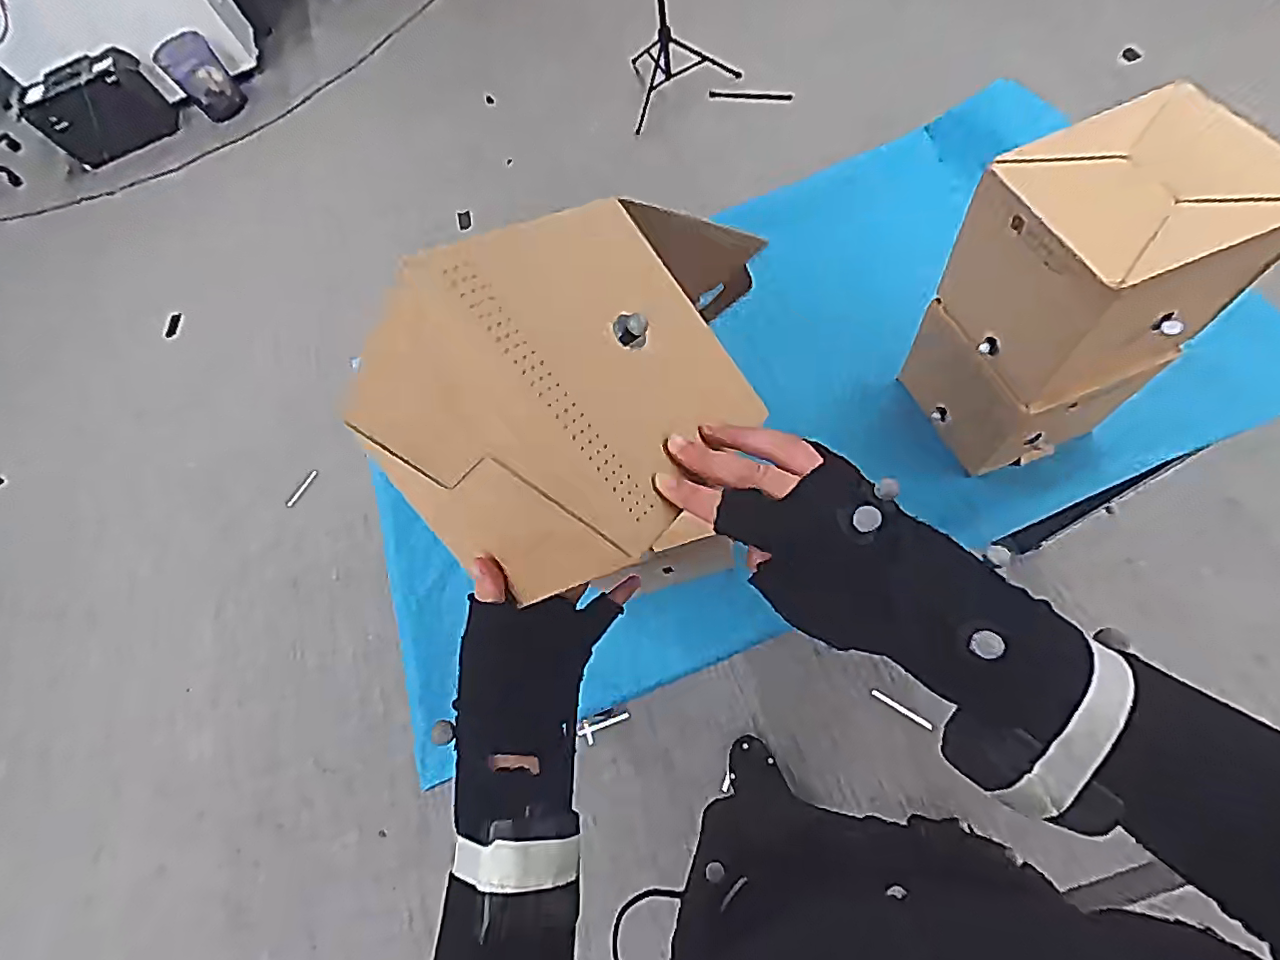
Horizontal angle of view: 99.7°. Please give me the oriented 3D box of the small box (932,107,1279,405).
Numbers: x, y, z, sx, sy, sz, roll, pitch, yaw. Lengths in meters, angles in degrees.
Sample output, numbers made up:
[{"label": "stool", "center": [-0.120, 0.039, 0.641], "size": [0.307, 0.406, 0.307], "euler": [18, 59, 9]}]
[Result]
[{"label": "small box", "center": [0.421, -0.206, 0.509], "size": [0.179, 0.176, 0.168], "euler": [-22, 63, 4]}]

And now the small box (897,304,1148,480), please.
[{"label": "small box", "center": [0.448, -0.134, 0.653], "size": [0.168, 0.176, 0.179], "euler": [-23, 64, 1]}]

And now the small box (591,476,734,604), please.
[{"label": "small box", "center": [0.009, 0.033, 0.669], "size": [0.168, 0.176, 0.179], "euler": [-18, 65, 3]}]

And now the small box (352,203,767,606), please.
[{"label": "small box", "center": [-0.053, -0.040, 0.363], "size": [0.179, 0.168, 0.176], "euler": [51, 49, -9]}]
